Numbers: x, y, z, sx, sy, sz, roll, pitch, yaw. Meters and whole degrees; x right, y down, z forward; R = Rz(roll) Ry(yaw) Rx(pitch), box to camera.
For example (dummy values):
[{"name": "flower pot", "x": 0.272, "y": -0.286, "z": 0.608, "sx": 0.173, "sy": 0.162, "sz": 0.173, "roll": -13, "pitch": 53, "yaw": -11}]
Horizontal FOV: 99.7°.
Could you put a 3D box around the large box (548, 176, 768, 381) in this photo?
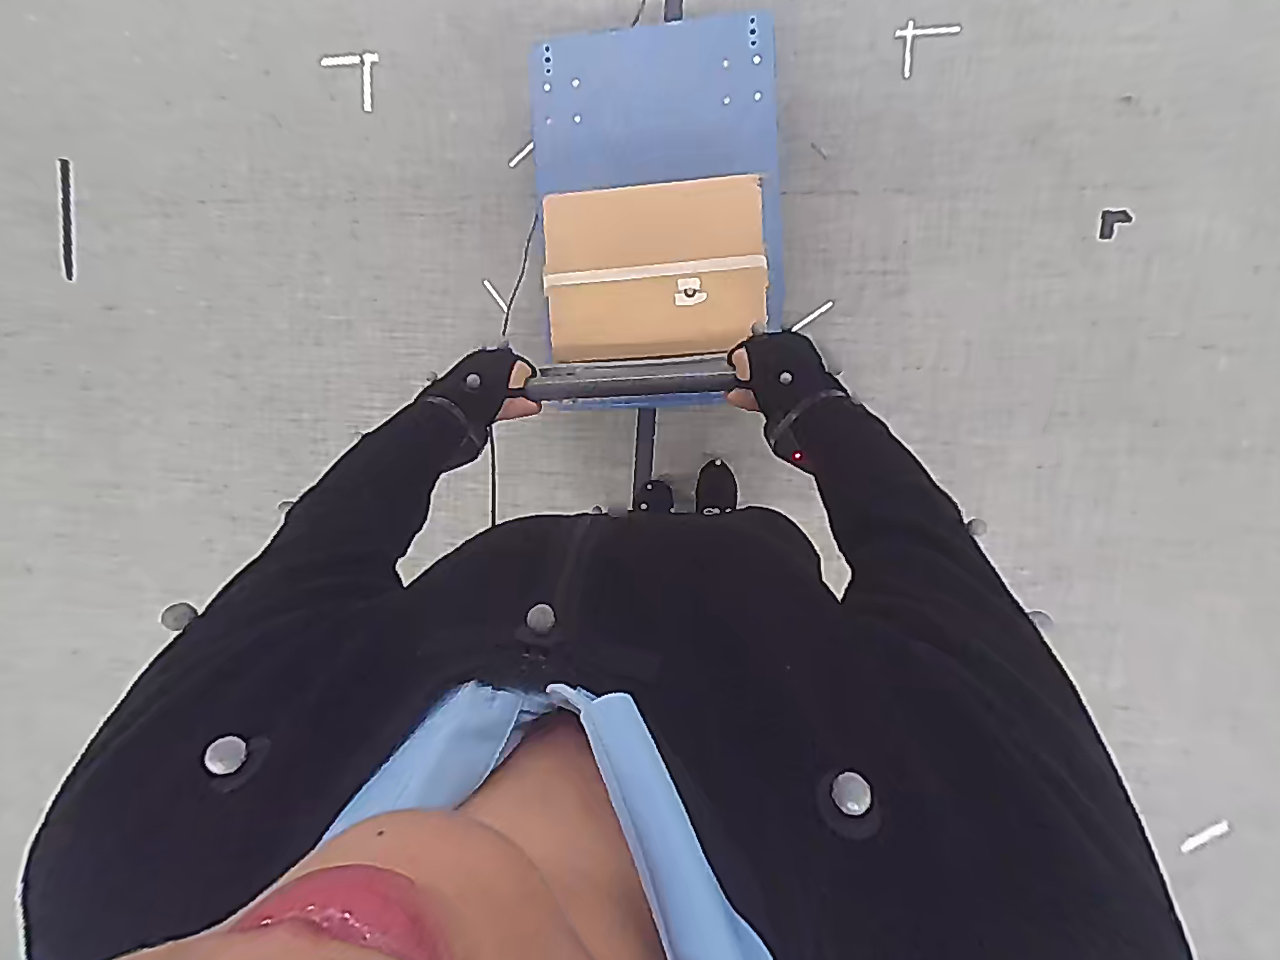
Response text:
[{"name": "large box", "x": 0.045, "y": -0.400, "z": 1.163, "sx": 0.408, "sy": 0.320, "sz": 0.320, "roll": -3, "pitch": 94, "yaw": 6}]
